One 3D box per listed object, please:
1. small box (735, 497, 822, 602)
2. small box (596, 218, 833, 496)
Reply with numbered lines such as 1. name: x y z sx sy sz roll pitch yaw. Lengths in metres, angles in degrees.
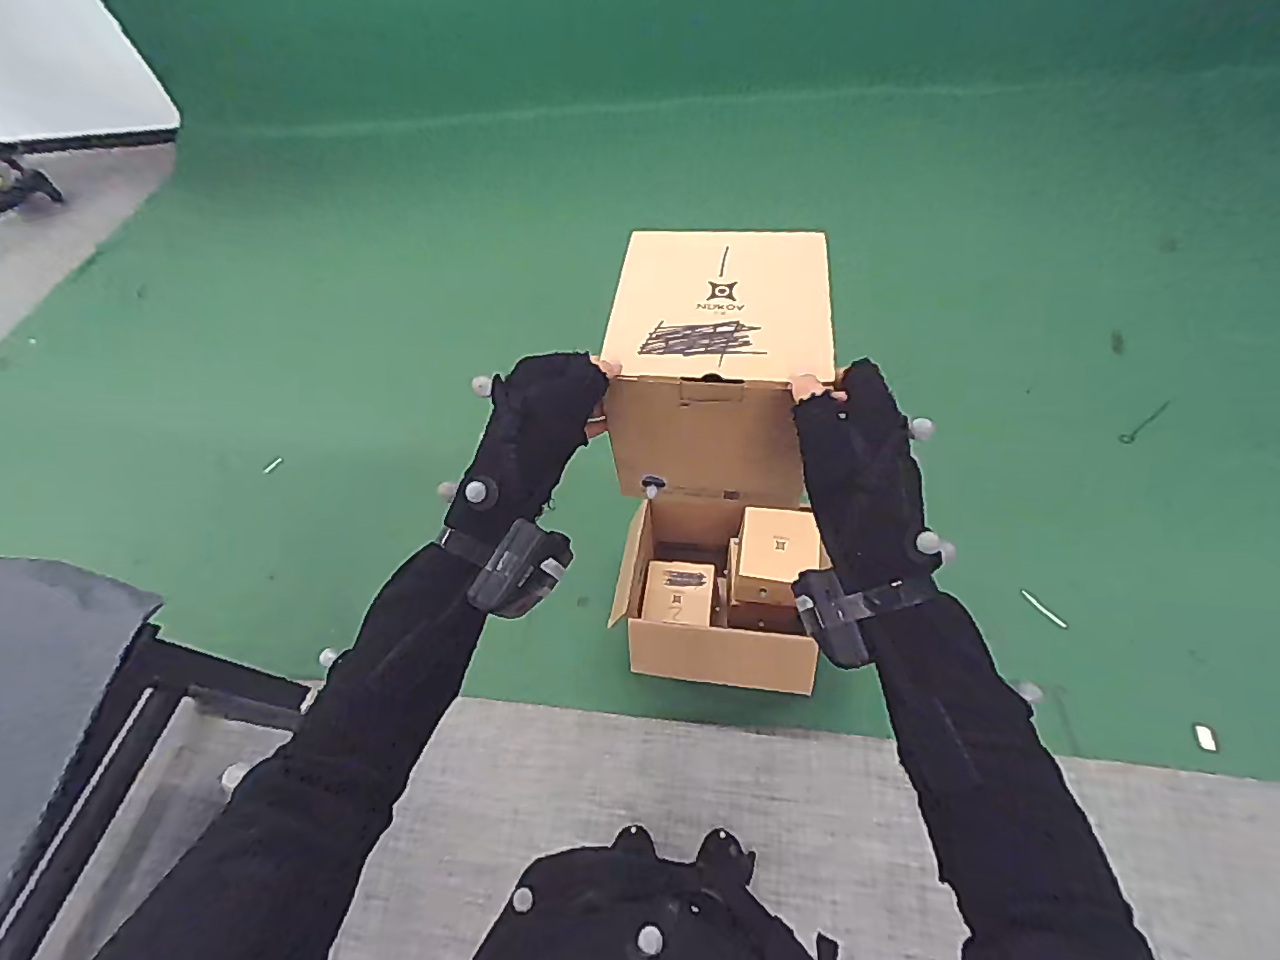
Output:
1. small box: 0.310 0.163 1.229 0.168 0.176 0.179 7 60 9
2. small box: 0.069 -0.102 0.476 0.168 0.176 0.179 4 57 9
